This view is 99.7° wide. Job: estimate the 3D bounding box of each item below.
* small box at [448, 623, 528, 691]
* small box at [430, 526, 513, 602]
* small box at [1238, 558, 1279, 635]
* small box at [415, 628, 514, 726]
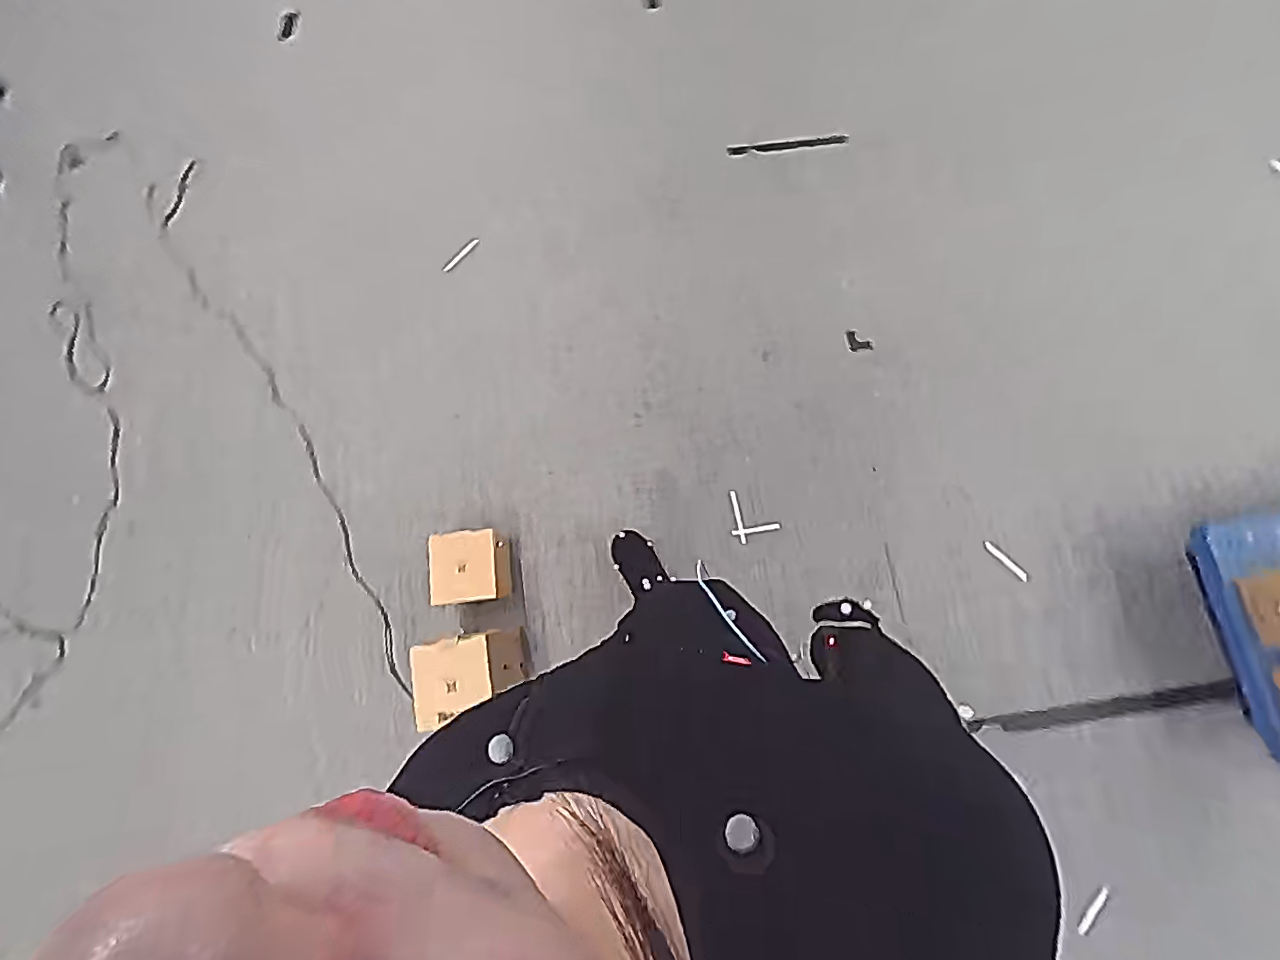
[{"bbox_3d":[-0.397,0.466,1.386,0.179,0.176,0.168,-9,79,-2],"label":"small box"},{"bbox_3d":[-0.442,0.225,1.438,0.168,0.176,0.179,-7,78,-1],"label":"small box"},{"bbox_3d":[1.537,0.261,1.229,0.179,0.176,0.168,-10,80,-3],"label":"small box"},{"bbox_3d":[-0.392,0.435,1.225,0.168,0.176,0.179,-9,79,-1],"label":"small box"}]
